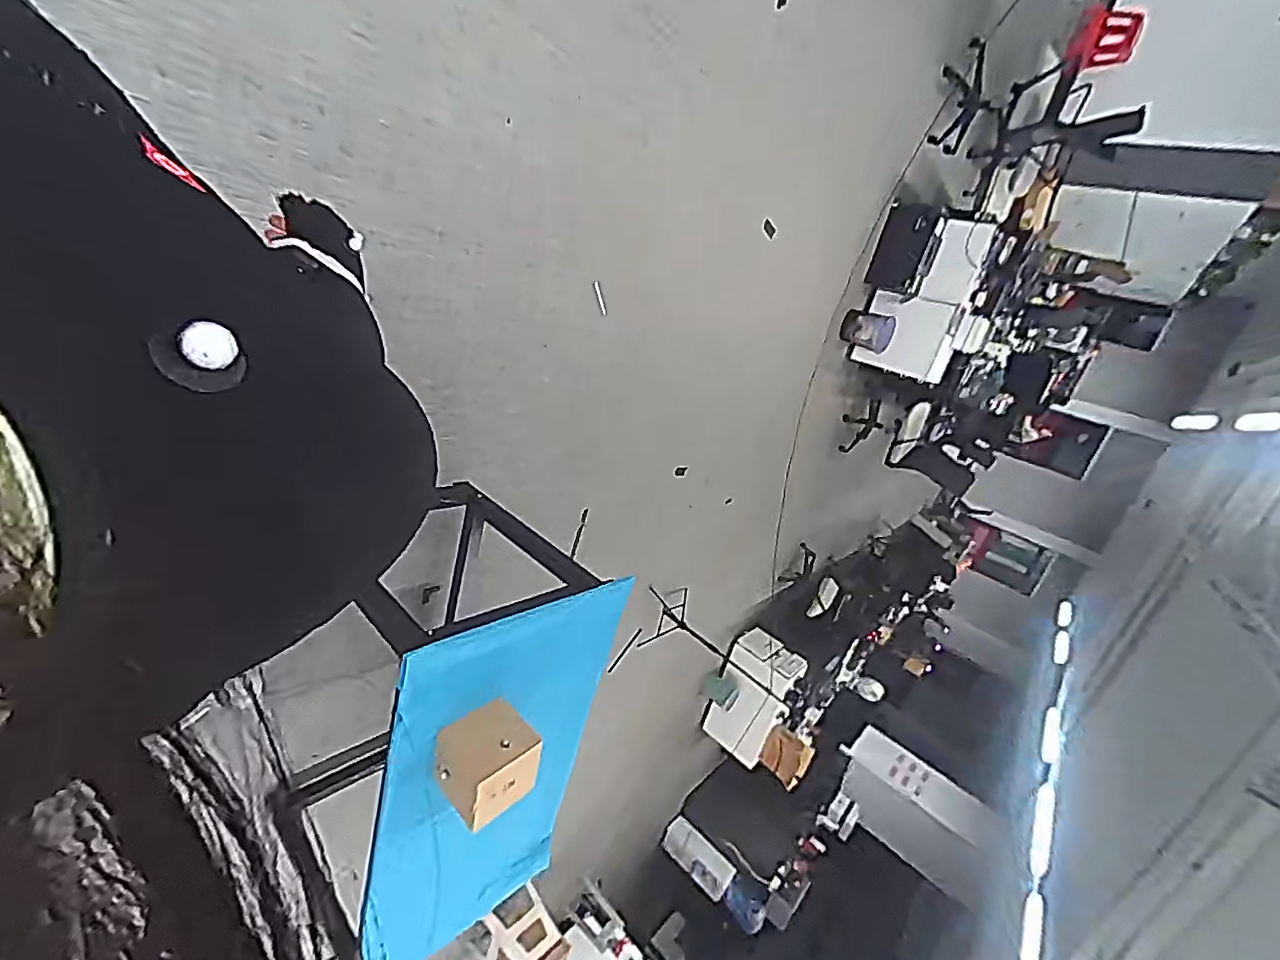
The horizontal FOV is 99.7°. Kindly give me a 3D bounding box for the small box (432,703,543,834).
[{"bbox_3d":[-0.357,0.659,1.261,0.179,0.176,0.168,-8,120,-47],"label":"small box"}]
